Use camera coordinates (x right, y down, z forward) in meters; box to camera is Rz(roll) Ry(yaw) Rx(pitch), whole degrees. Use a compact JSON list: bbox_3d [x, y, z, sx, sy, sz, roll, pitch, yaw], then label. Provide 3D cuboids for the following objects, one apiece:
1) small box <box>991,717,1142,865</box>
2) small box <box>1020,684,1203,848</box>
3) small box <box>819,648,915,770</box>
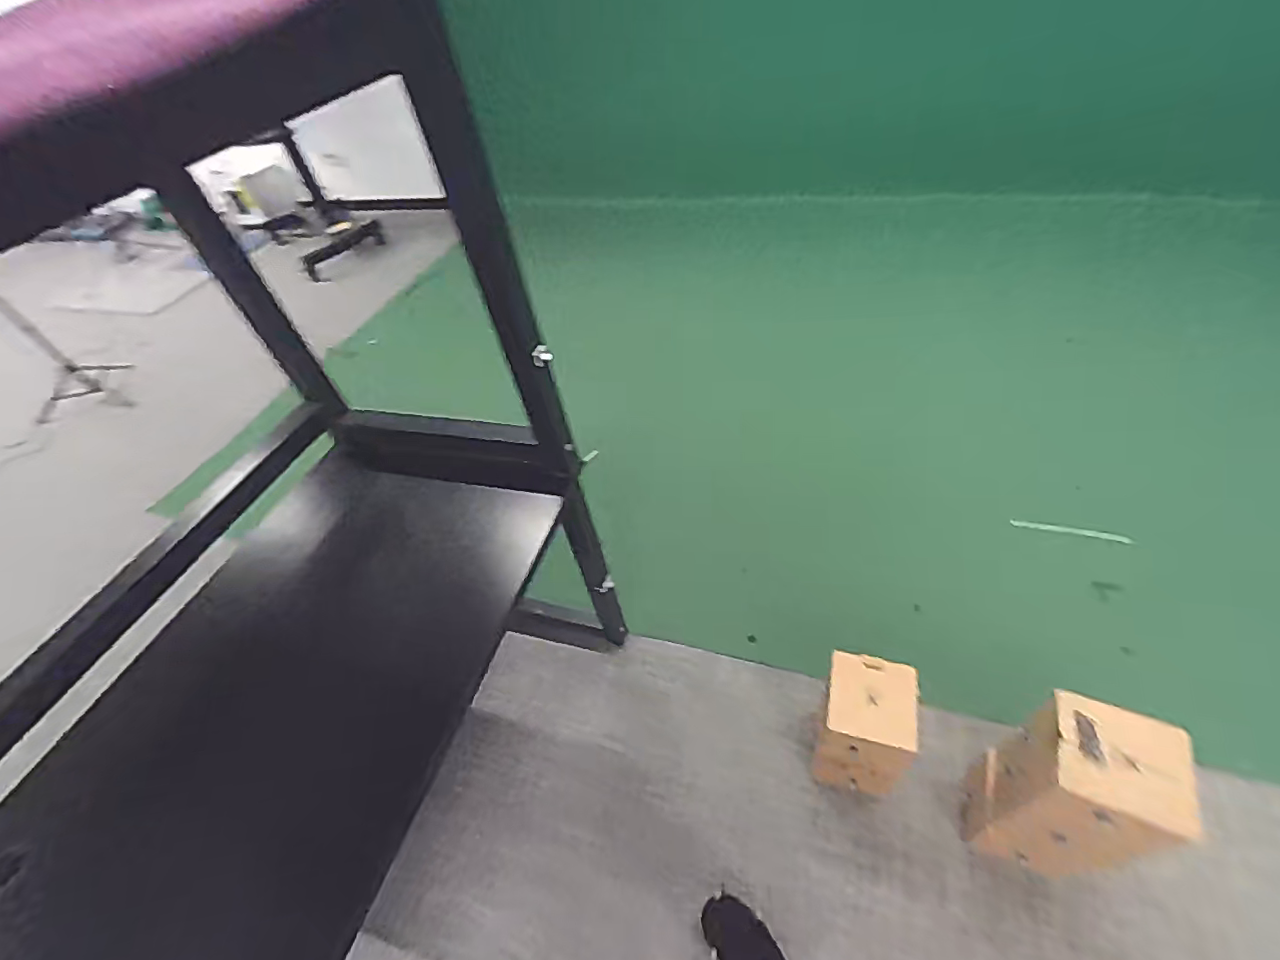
[{"bbox_3d":[0.783,0.582,1.008,0.179,0.176,0.168,17,54,24],"label":"small box"},{"bbox_3d":[0.754,0.472,0.889,0.179,0.176,0.168,15,53,22],"label":"small box"},{"bbox_3d":[0.479,0.489,1.151,0.168,0.176,0.179,7,48,17],"label":"small box"}]
